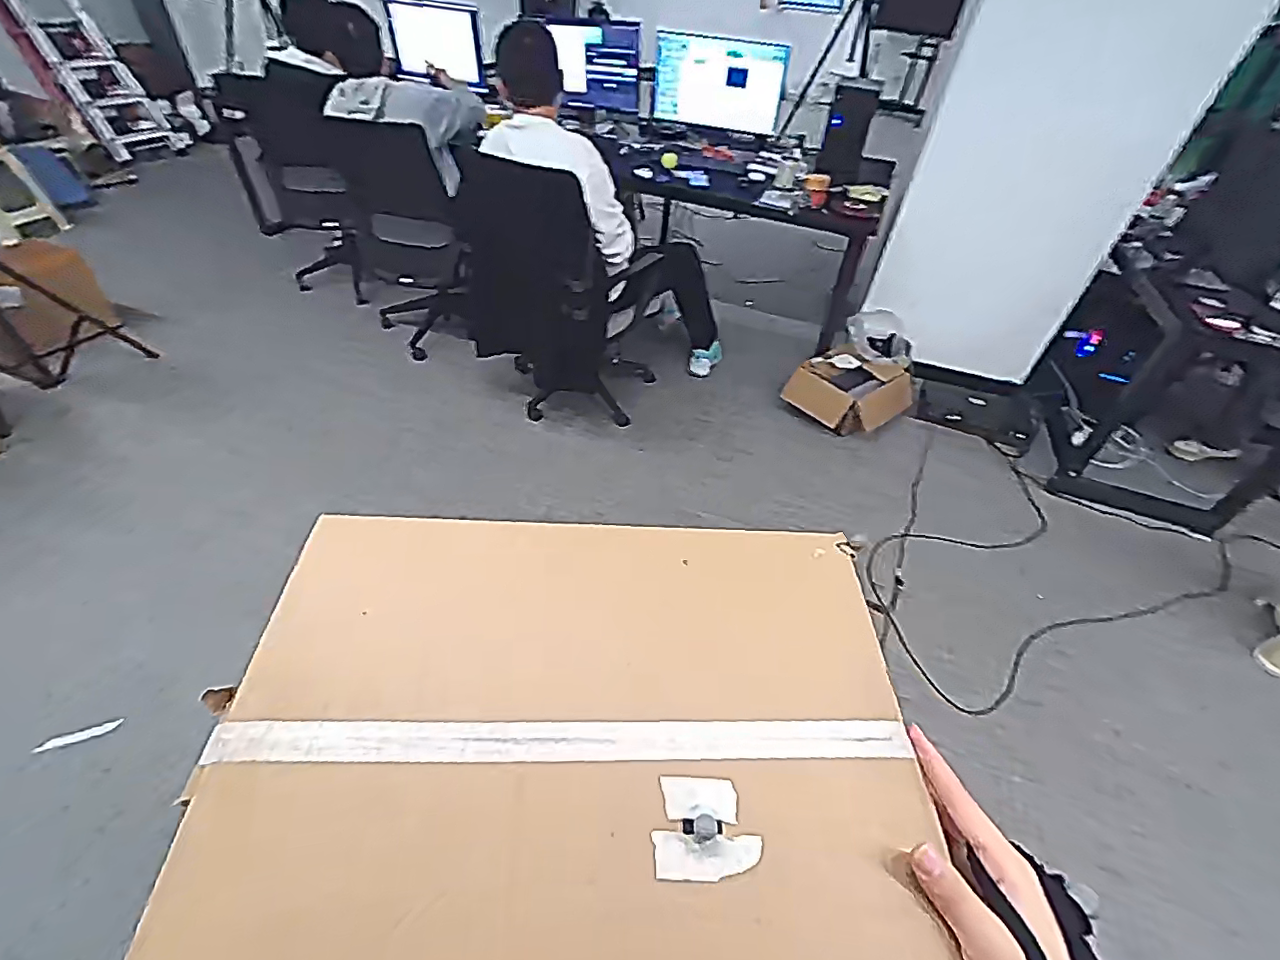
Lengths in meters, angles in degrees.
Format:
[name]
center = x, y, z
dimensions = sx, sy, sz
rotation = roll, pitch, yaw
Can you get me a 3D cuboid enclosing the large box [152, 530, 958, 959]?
[large box]
center = -0.051, 0.257, 0.443
dimensions = 0.408, 0.320, 0.320
rotation = 3, 51, -6
